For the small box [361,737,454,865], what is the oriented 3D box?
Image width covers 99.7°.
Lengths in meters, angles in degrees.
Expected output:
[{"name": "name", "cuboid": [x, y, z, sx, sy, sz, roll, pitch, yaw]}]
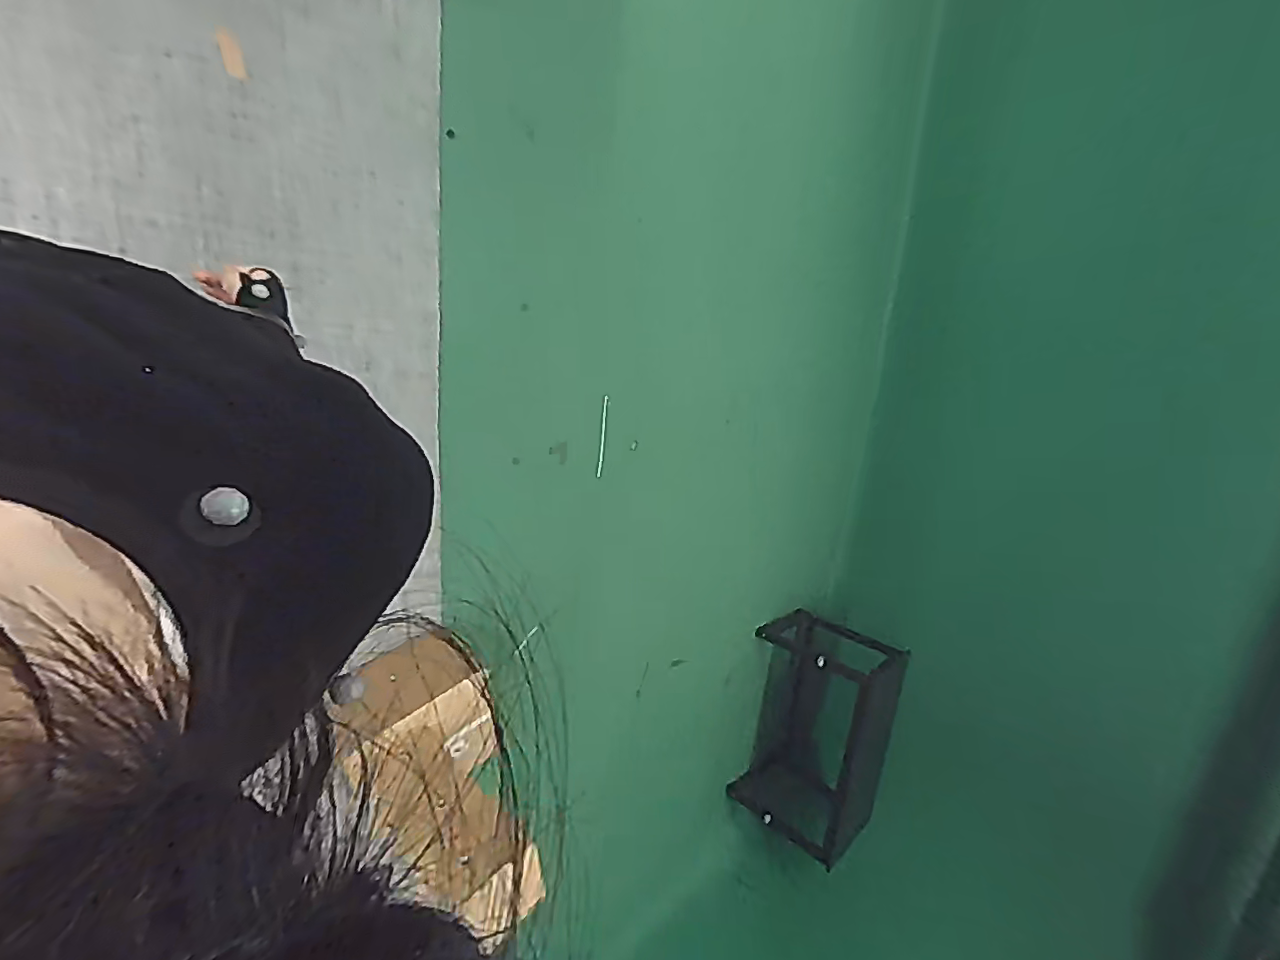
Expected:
[{"name": "small box", "cuboid": [-0.576, 0.790, 1.350, 0.179, 0.176, 0.168, -20, 116, -42]}]

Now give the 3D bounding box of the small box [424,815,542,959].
[{"name": "small box", "cuboid": [-0.332, 0.853, 1.140, 0.168, 0.176, 0.179, -24, 119, -41]}]

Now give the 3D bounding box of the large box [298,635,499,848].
[{"name": "large box", "cuboid": [-0.691, 0.728, 1.574, 0.408, 0.320, 0.320, -26, 121, -41]}]

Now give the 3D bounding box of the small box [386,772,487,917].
[{"name": "small box", "cuboid": [-0.458, 0.823, 1.240, 0.179, 0.176, 0.168, -26, 120, -41]}]
